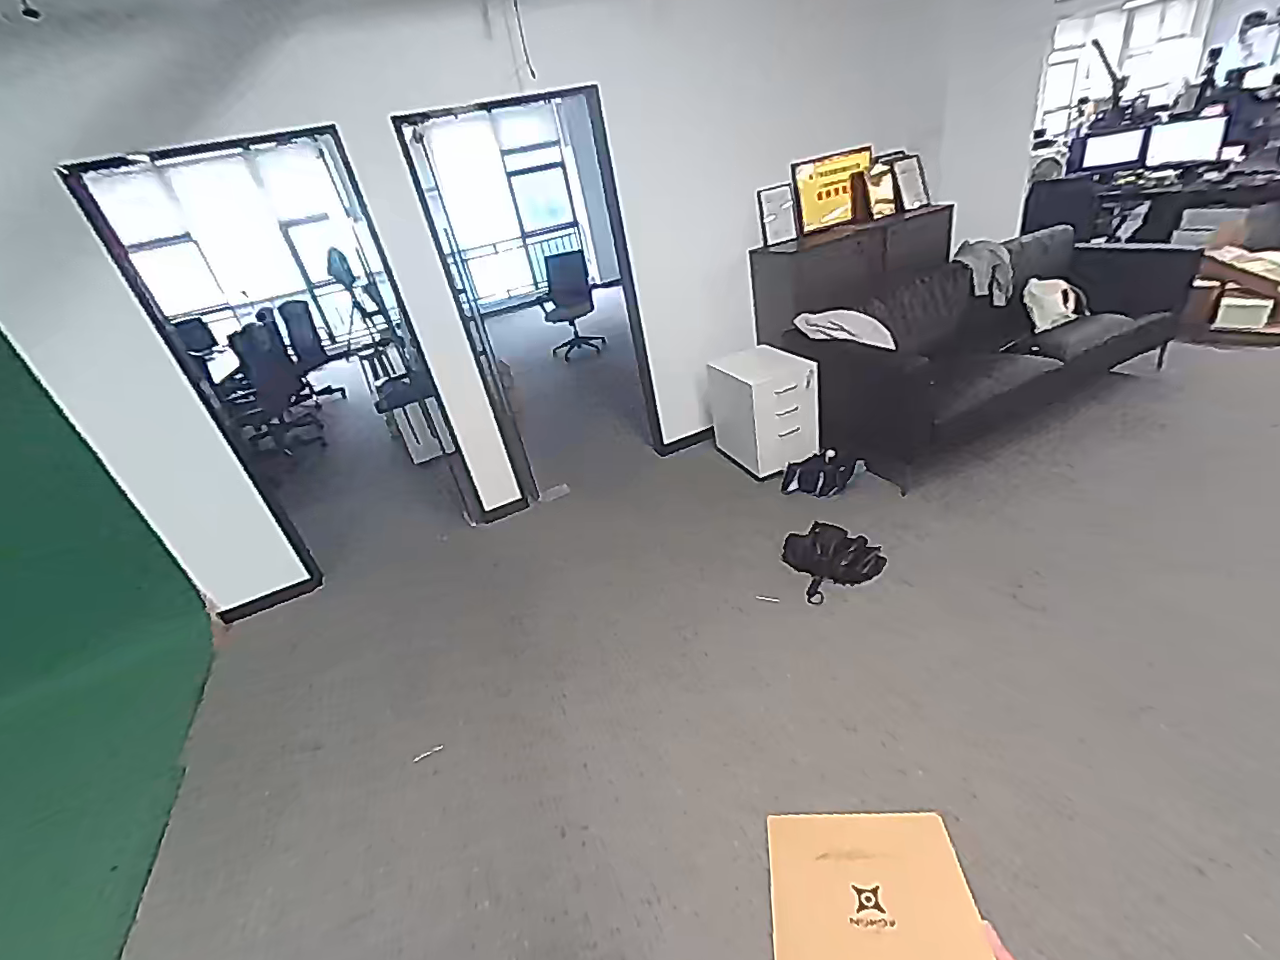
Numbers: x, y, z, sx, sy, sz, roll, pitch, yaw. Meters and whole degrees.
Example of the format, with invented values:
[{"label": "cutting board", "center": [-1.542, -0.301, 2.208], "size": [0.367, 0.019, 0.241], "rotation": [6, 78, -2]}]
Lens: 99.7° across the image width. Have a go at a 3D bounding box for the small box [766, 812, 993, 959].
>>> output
[{"label": "small box", "center": [0.208, 0.432, 0.476], "size": [0.168, 0.176, 0.179], "rotation": [-8, 14, 12]}]
